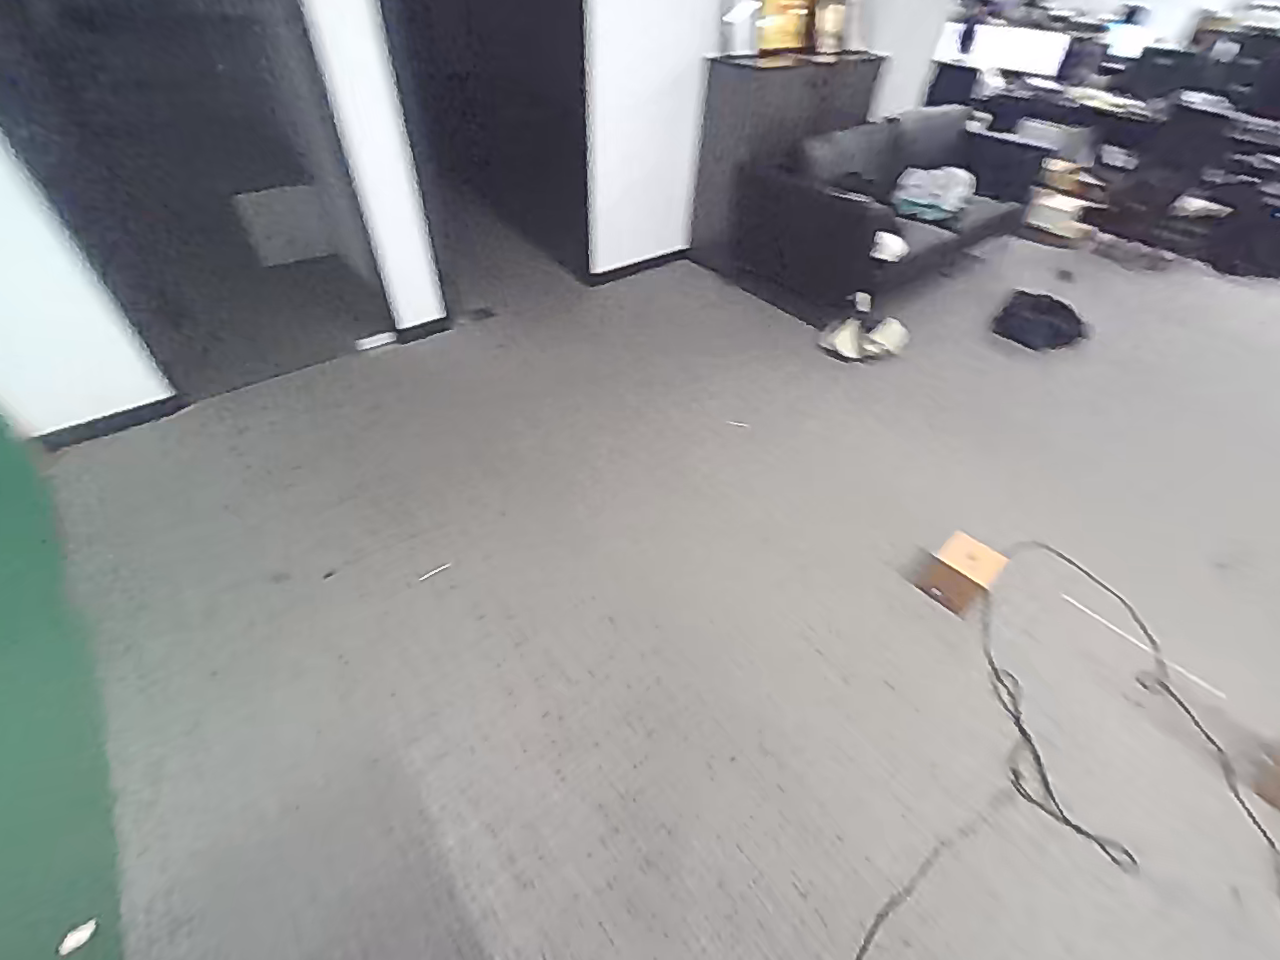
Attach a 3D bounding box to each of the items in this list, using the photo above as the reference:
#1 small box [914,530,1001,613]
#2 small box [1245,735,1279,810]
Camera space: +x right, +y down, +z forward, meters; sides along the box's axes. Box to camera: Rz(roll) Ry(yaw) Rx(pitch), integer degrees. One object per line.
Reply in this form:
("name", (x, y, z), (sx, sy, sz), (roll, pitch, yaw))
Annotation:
("small box", (1.048, 0.305, 1.798), (0.179, 0.176, 0.168), (-31, 53, -30))
("small box", (1.714, 0.765, 1.371), (0.179, 0.176, 0.168), (-31, 57, -28))
